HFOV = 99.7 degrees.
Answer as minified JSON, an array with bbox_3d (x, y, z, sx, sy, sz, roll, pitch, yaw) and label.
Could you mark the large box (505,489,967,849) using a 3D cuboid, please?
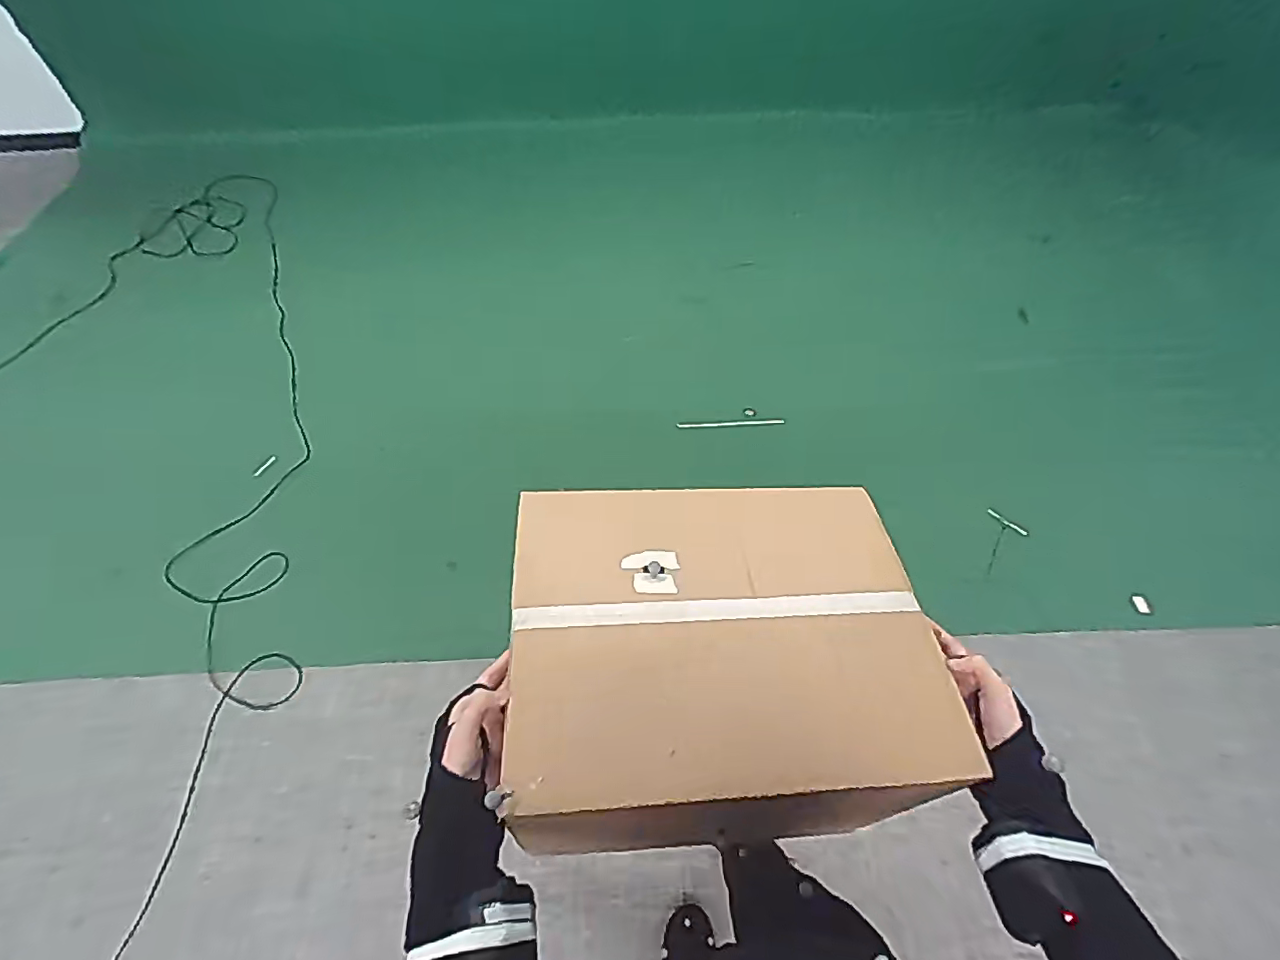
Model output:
[{"bbox_3d":[0.068,0.231,0.653,0.408,0.320,0.320,-2,50,-6],"label":"large box"}]
